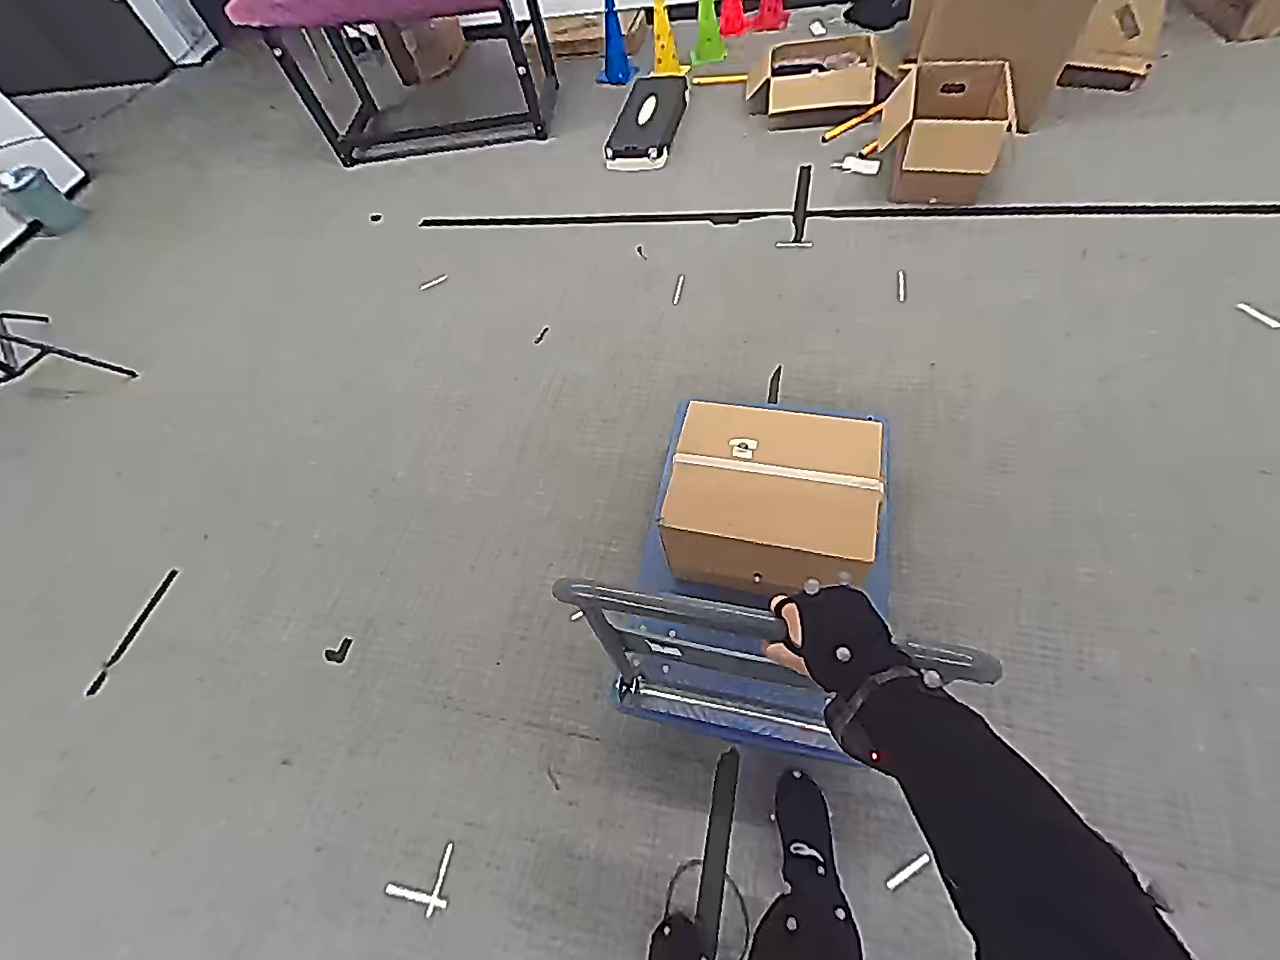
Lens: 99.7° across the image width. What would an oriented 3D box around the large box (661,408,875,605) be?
[{"bbox_3d":[0.291,0.065,1.230,0.408,0.320,0.320,8,61,15],"label":"large box"}]
